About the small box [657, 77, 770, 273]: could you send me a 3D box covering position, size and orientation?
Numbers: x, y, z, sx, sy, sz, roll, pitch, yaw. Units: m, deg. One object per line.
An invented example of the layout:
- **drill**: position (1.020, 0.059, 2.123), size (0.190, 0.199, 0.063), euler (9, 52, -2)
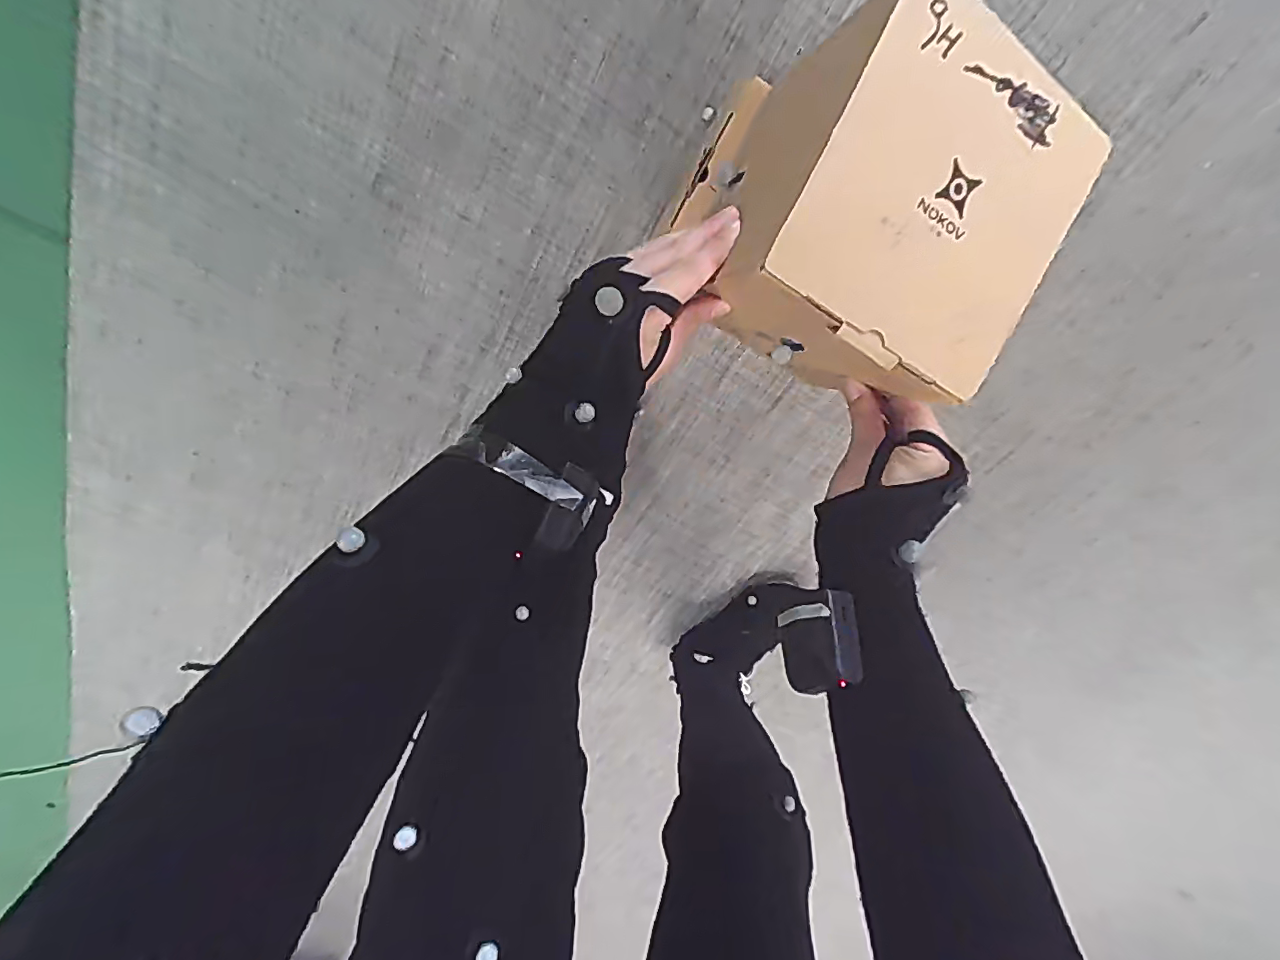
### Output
- **small box**: position (0.129, -0.280, 0.573), size (0.179, 0.176, 0.168), euler (25, 119, -15)

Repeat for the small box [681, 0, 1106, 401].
- **small box**: position (0.147, -0.176, 0.376), size (0.168, 0.176, 0.179), euler (24, 97, -20)
